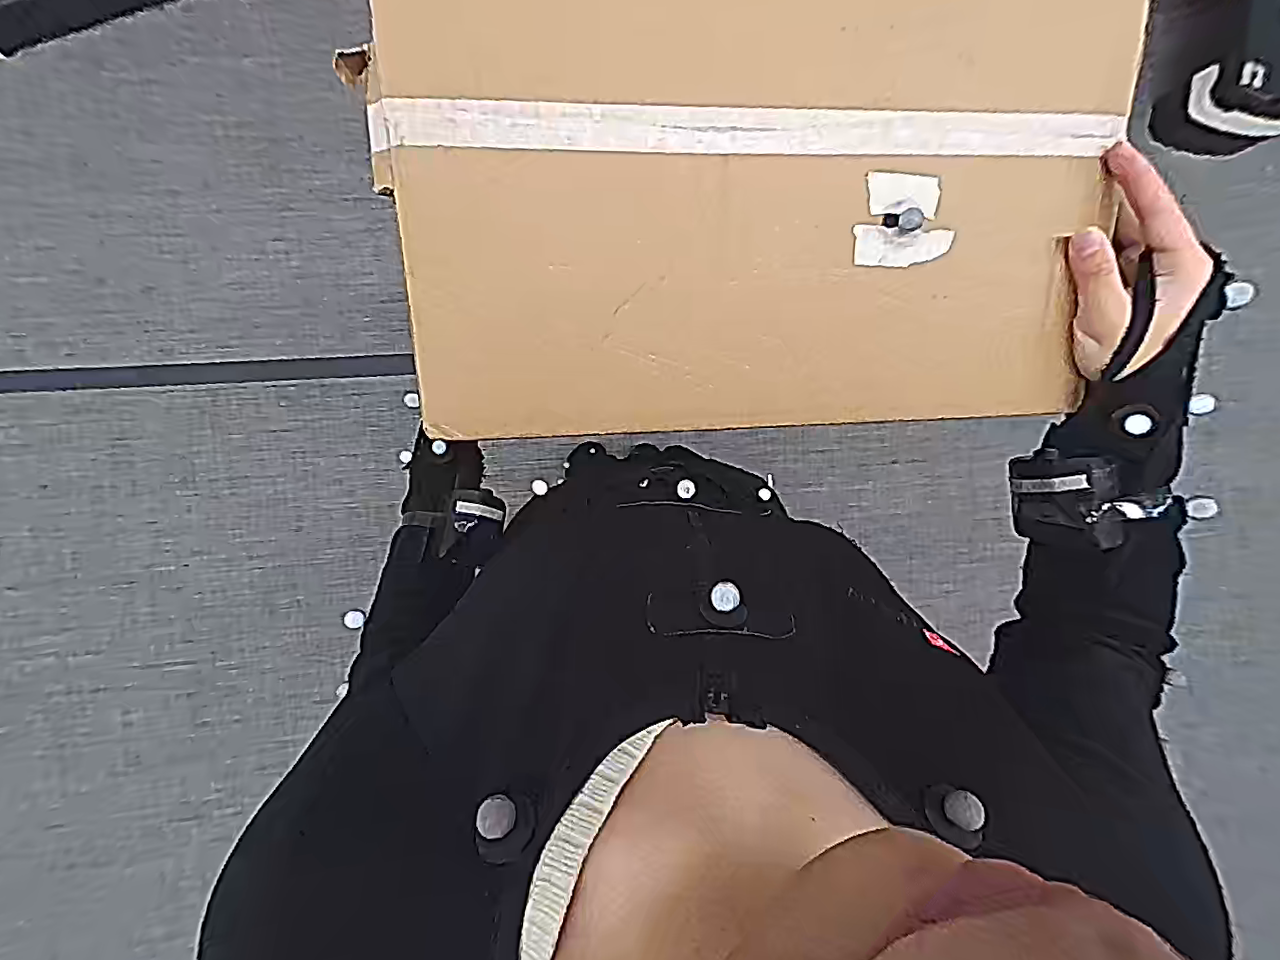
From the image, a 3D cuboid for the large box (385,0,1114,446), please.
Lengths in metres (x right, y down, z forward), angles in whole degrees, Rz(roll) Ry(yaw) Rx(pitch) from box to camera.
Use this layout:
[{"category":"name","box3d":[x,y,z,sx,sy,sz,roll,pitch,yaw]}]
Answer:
[{"category":"large box","box3d":[0.052,-0.216,0.444,0.408,0.320,0.320,-4,104,-8]}]
